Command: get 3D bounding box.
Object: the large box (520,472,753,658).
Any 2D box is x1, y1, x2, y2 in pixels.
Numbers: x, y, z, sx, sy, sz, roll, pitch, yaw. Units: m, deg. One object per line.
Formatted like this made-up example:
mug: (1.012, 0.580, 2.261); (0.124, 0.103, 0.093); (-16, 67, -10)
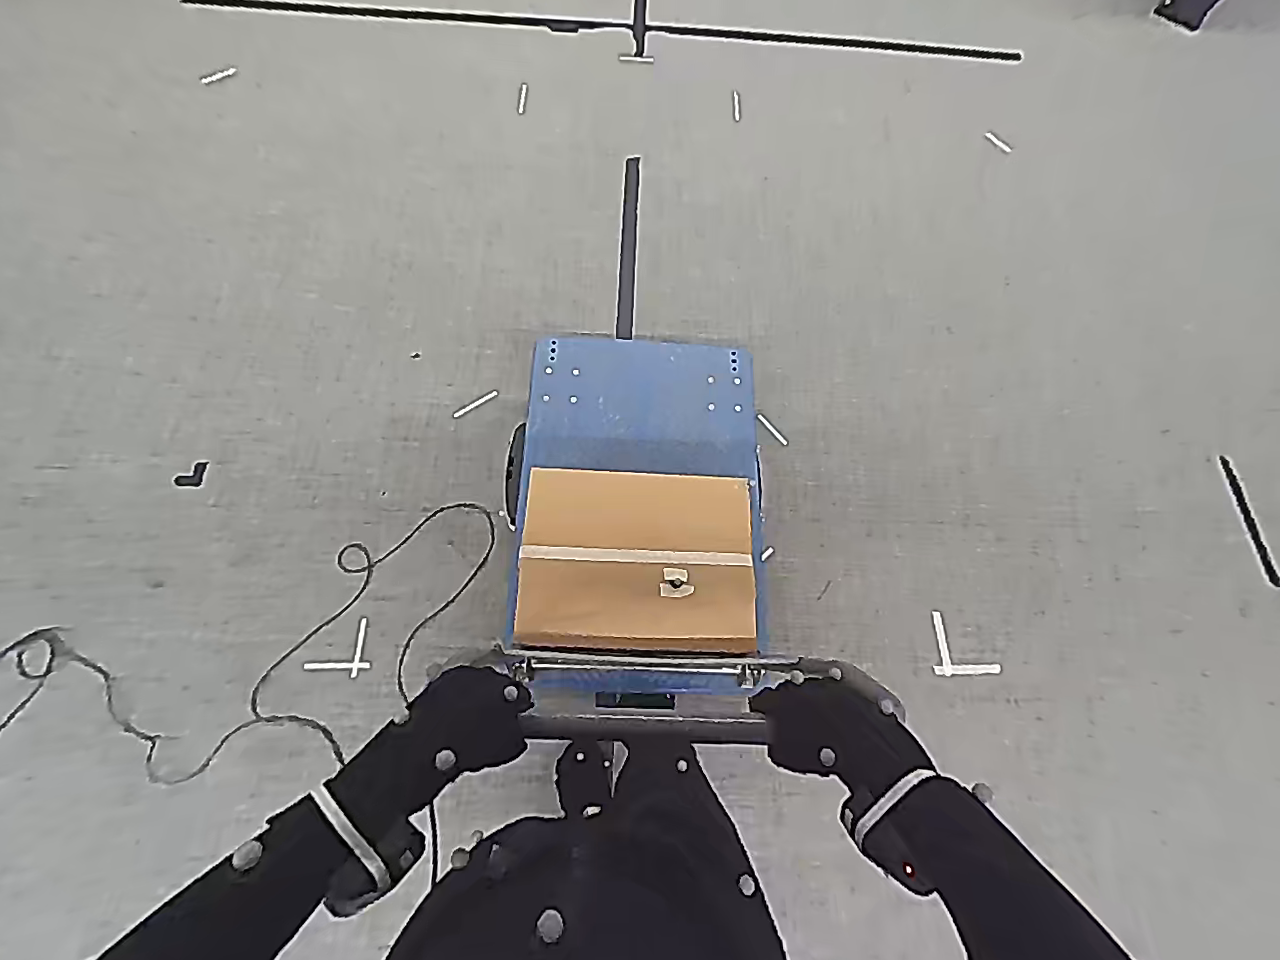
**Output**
large box: (-0.014, 0.191, 1.103); (0.408, 0.320, 0.320); (3, 69, -4)
